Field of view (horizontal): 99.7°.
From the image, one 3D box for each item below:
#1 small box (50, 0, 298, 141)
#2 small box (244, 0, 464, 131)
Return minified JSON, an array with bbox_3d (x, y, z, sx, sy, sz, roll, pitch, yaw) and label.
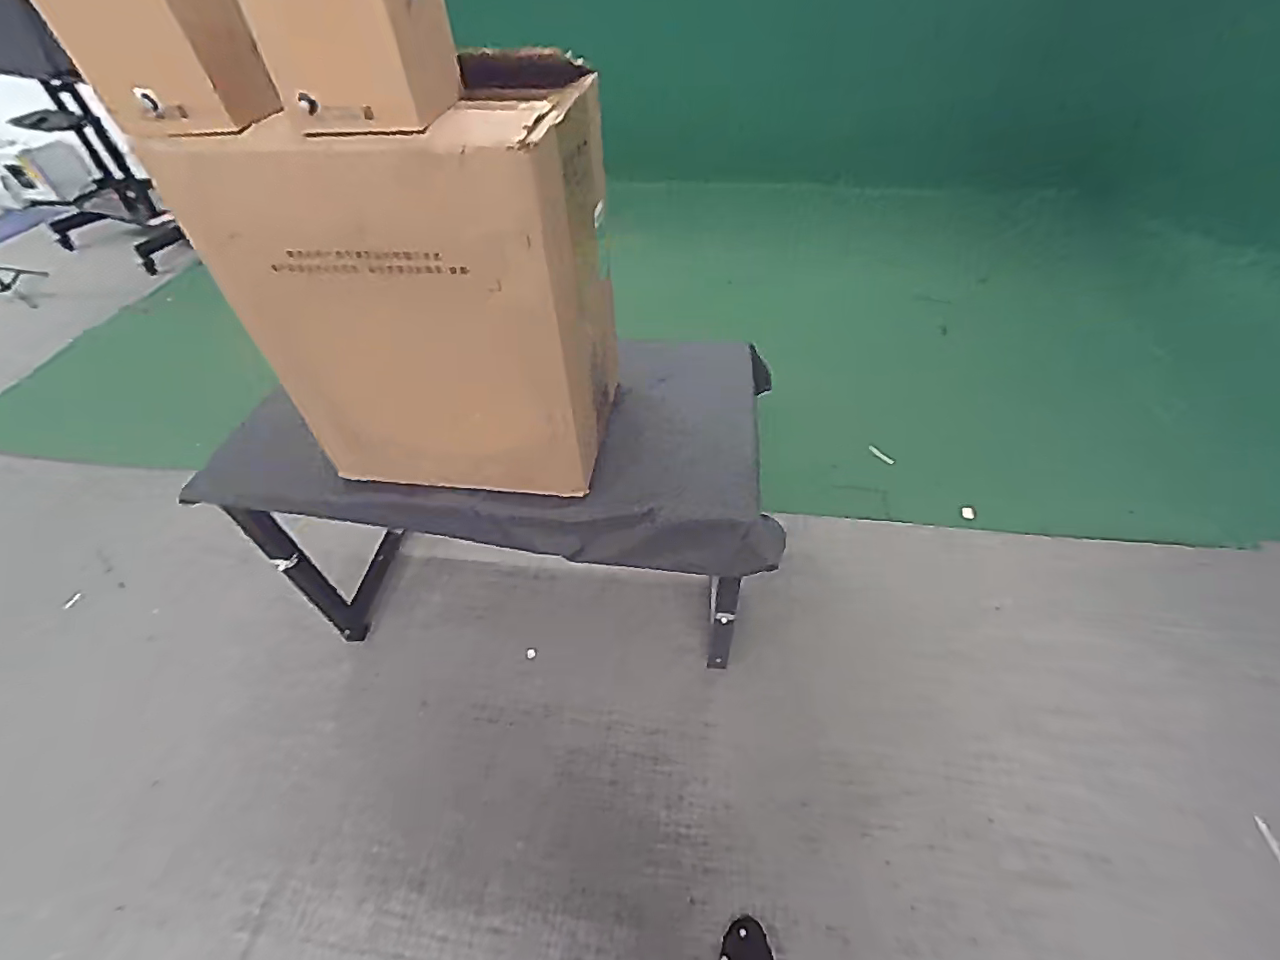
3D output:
[{"bbox_3d":[-0.578,-0.560,0.698,0.168,0.176,0.179,1,49,8],"label":"small box"},{"bbox_3d":[-0.334,-0.543,0.660,0.168,0.176,0.179,3,48,5],"label":"small box"}]
